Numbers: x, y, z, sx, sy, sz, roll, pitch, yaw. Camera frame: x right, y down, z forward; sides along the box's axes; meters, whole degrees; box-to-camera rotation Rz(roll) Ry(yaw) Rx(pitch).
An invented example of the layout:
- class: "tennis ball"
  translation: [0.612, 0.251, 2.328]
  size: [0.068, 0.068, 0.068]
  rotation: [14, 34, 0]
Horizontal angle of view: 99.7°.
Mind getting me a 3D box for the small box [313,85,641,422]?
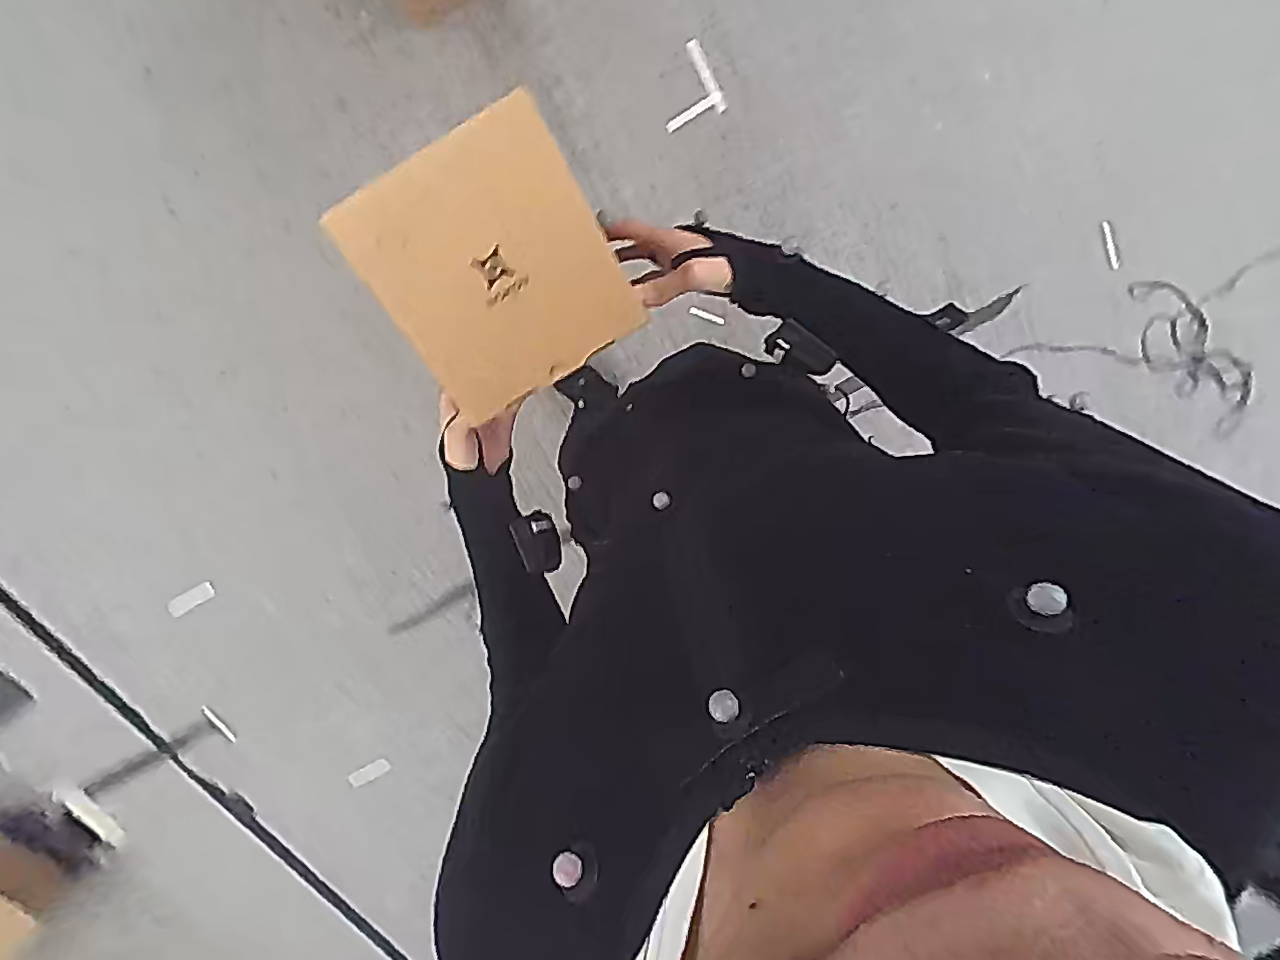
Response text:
- class: "small box"
  translation: [-0.123, -0.180, 0.459]
  size: [0.168, 0.176, 0.179]
  rotation: [-31, 116, 3]
